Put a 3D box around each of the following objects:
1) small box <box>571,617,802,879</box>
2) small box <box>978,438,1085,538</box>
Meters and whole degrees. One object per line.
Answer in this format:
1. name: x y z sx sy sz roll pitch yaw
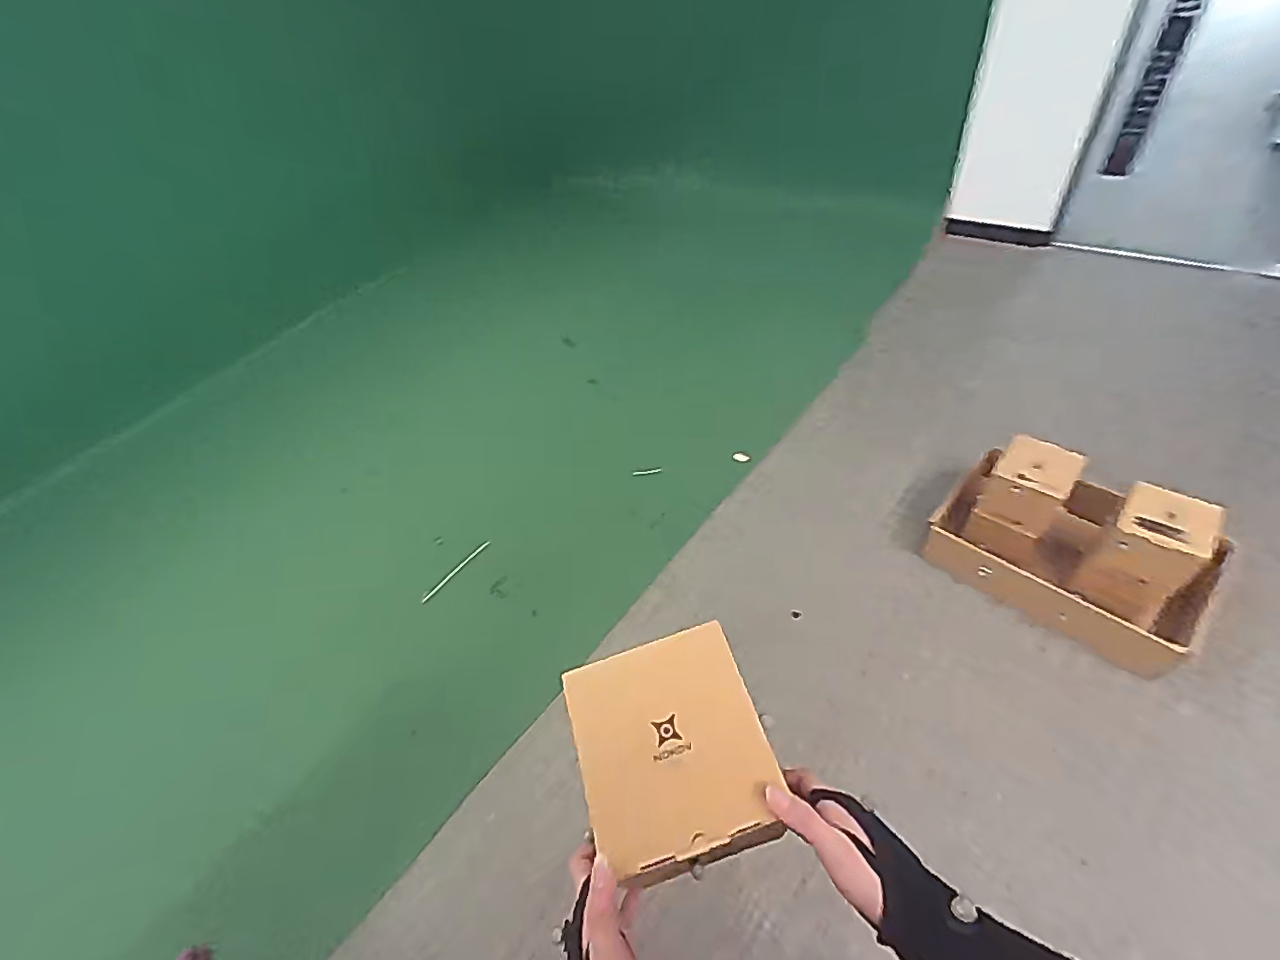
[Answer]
1. small box: 0.040 0.270 0.539 0.168 0.176 0.179 -17 52 -4
2. small box: 1.057 0.022 1.473 0.168 0.176 0.179 29 61 34
